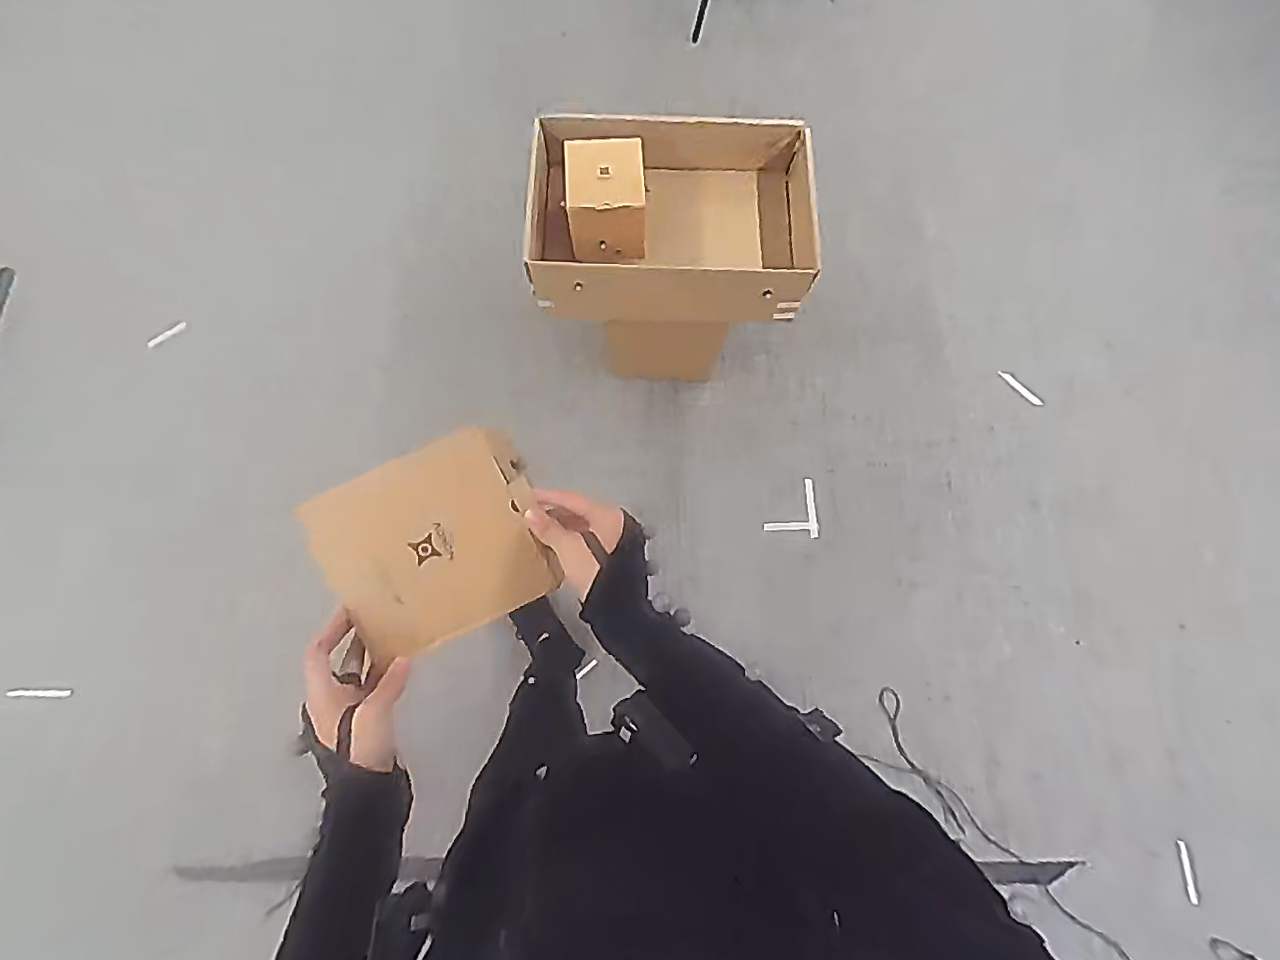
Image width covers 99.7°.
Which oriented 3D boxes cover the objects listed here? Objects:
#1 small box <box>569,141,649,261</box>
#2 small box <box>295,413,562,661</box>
[{"bbox_3d":[-0.070,-0.618,1.208,0.168,0.176,0.179,-4,76,-2],"label":"small box"},{"bbox_3d":[-0.190,0.046,0.547,0.179,0.176,0.168,-25,93,-4],"label":"small box"}]
